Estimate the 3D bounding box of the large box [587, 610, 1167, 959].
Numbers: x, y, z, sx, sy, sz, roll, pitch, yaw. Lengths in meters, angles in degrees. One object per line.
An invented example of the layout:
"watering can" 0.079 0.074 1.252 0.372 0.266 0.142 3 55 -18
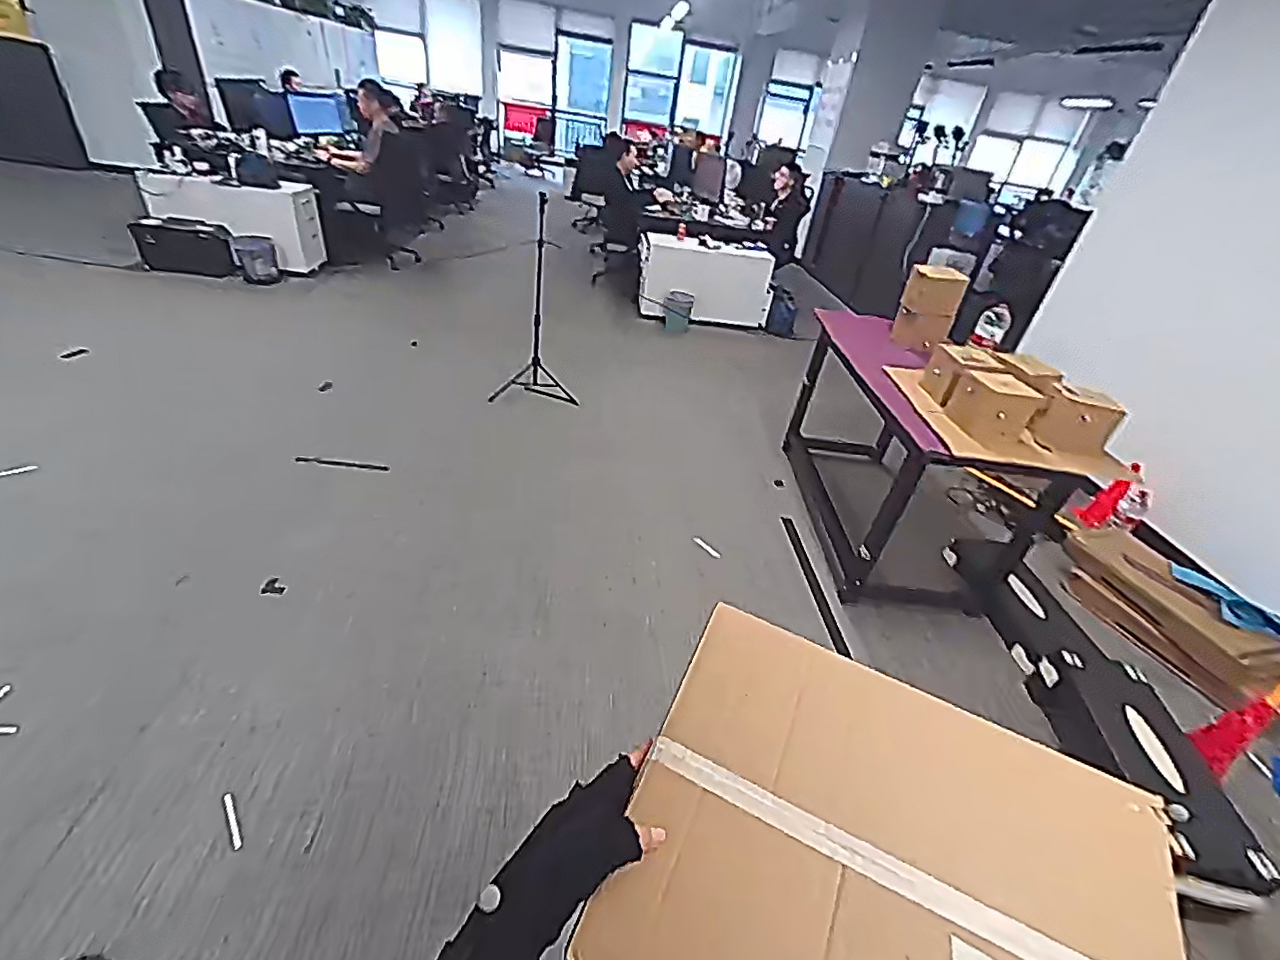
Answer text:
"large box" 0.191 0.402 0.549 0.408 0.320 0.320 22 53 14
